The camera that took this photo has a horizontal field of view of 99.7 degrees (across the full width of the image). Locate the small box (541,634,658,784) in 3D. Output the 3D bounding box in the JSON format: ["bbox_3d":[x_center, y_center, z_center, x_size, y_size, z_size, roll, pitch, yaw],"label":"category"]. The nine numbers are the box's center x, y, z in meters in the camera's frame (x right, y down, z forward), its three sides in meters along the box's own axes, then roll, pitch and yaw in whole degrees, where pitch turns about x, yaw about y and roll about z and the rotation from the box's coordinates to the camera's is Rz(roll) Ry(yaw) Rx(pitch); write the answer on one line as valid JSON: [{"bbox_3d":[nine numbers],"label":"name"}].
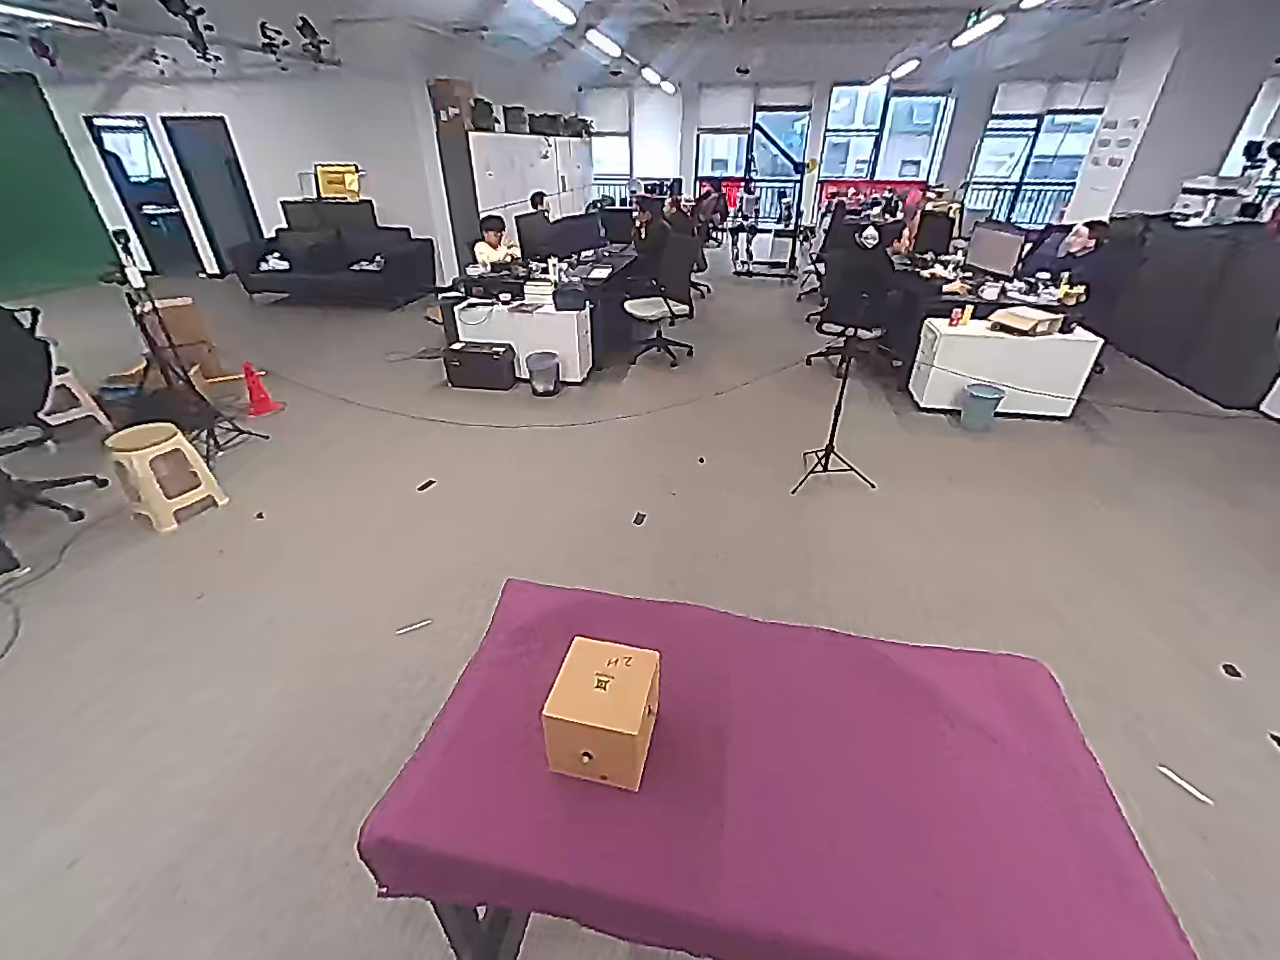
[{"bbox_3d":[-0.065,0.418,0.989,0.168,0.176,0.179,8,33,11],"label":"small box"}]
